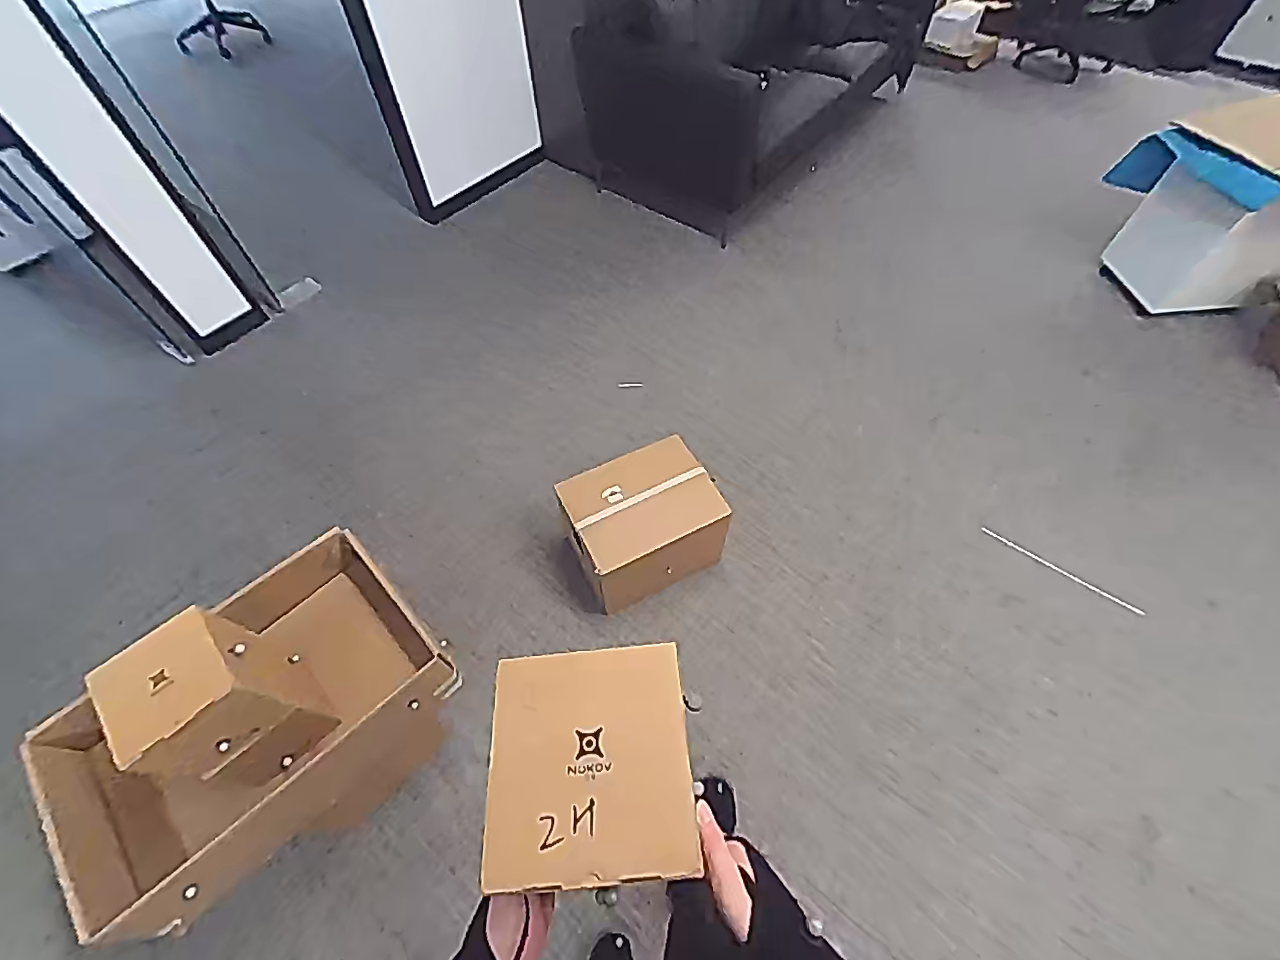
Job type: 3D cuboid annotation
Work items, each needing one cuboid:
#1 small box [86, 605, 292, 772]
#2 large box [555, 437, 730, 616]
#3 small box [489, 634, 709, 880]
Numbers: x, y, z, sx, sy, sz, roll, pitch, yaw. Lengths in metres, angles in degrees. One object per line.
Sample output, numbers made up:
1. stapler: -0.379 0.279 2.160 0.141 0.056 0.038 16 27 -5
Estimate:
1. small box: -0.712 0.341 0.871 0.168 0.176 0.179 -39 65 -21
2. large box: 0.006 0.142 1.614 0.408 0.320 0.320 -24 59 -14
3. small box: -0.029 0.265 0.511 0.168 0.176 0.179 -6 54 2
